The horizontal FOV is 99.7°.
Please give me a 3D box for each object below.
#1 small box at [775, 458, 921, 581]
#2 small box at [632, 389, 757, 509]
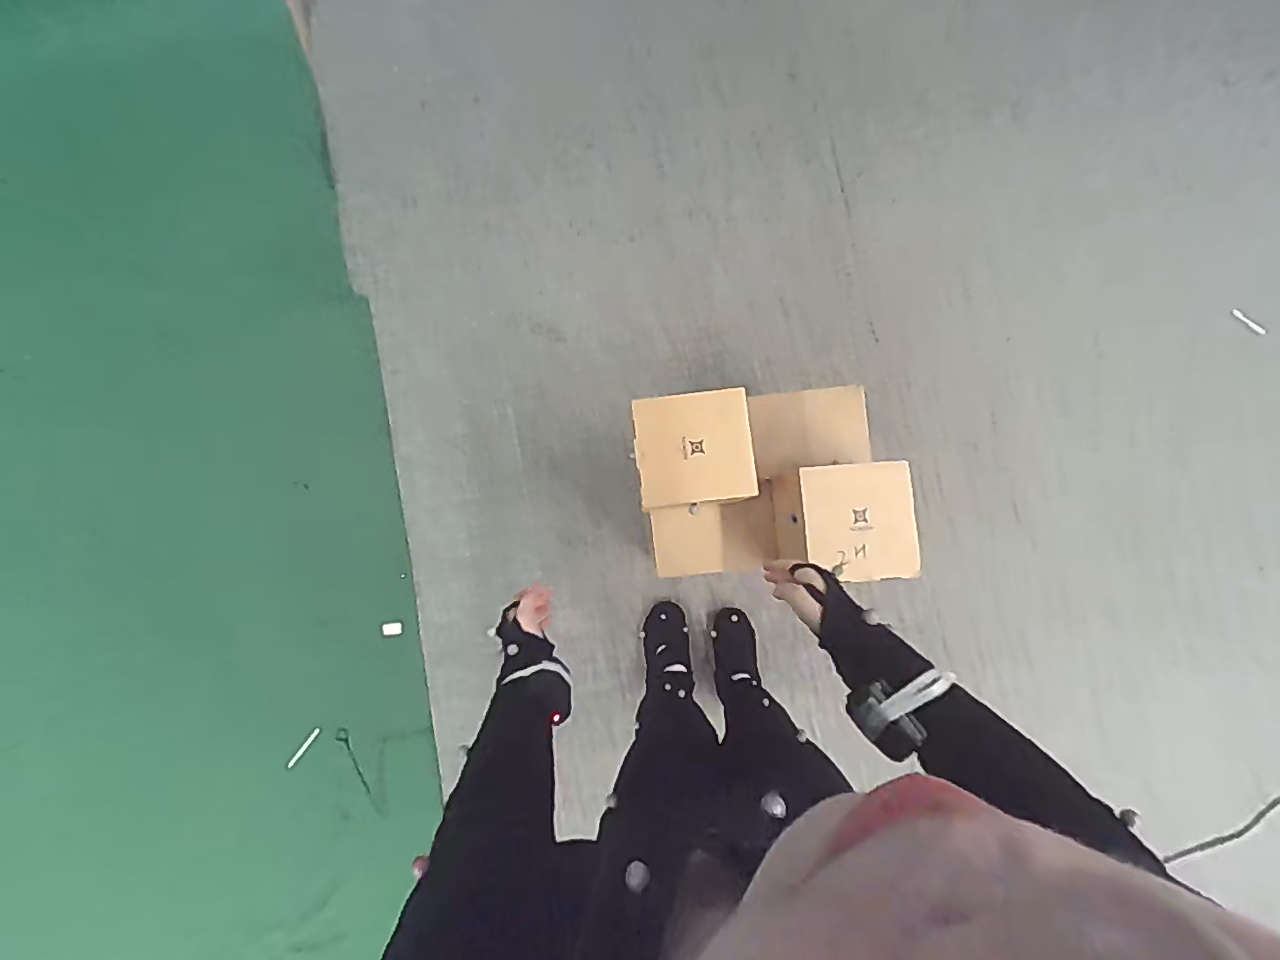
[{"bbox_3d":[0.321,0.066,0.870,0.168,0.176,0.179,-4,84,1],"label":"small box"},{"bbox_3d":[0.082,-0.043,0.885,0.179,0.176,0.168,-6,85,1],"label":"small box"}]
